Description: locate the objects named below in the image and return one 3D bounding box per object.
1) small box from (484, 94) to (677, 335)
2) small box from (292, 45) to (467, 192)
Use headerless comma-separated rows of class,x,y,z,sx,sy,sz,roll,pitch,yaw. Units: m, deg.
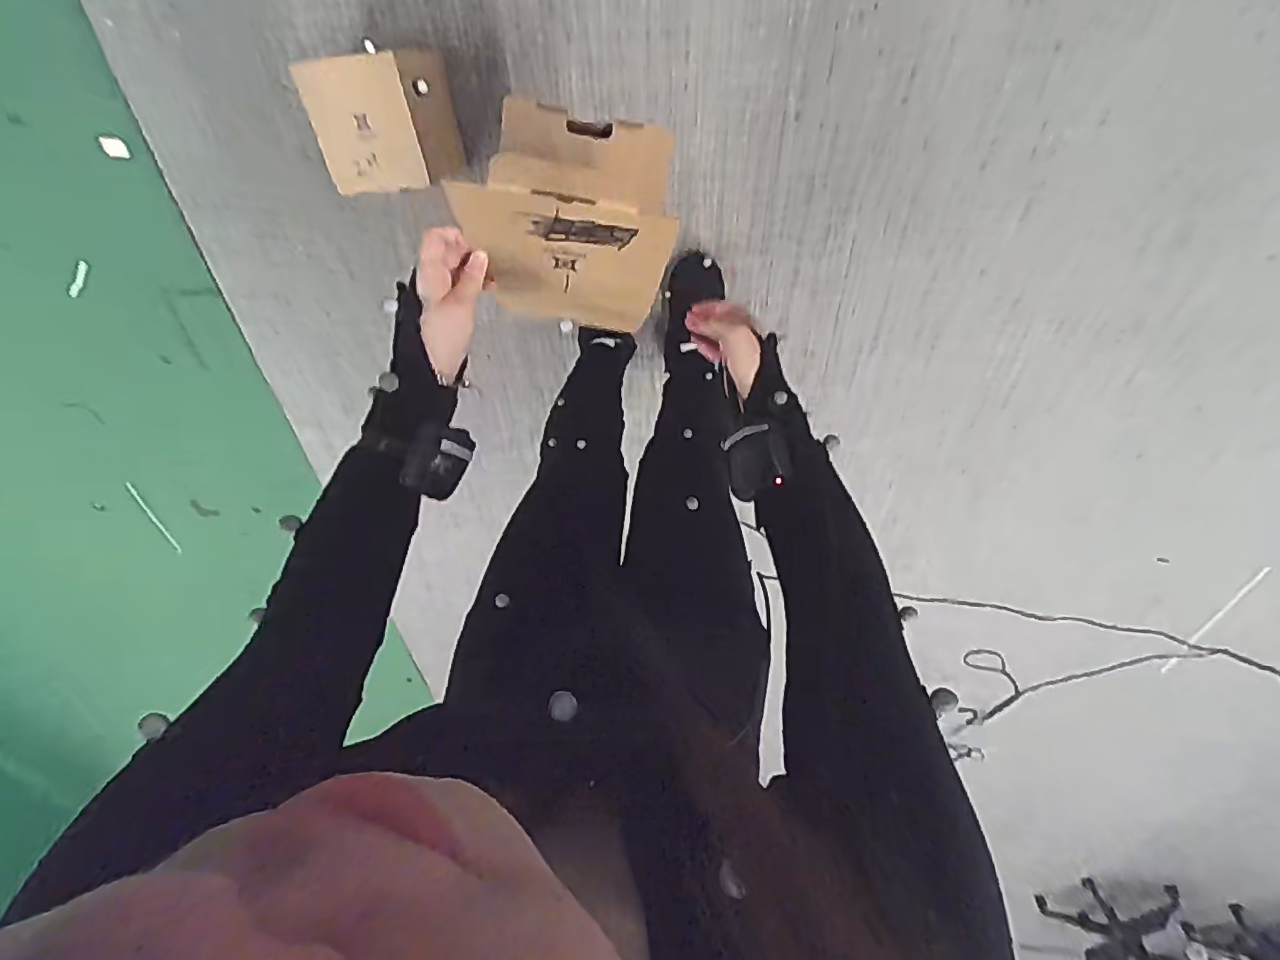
small box,-0.064,-0.267,0.588,0.168,0.176,0.179,7,97,-6
small box,-0.405,-0.584,0.876,0.168,0.176,0.179,0,128,8
